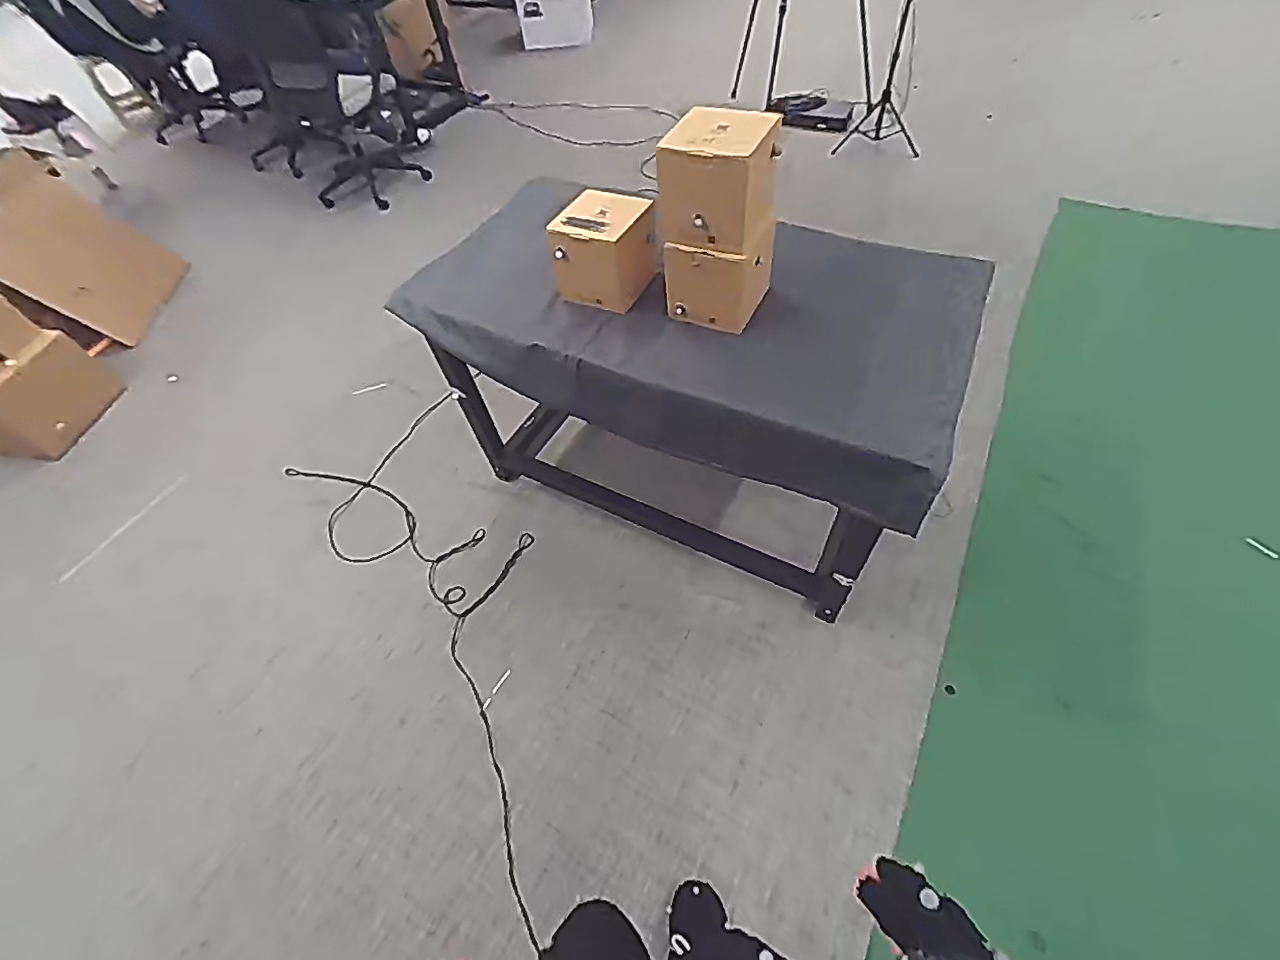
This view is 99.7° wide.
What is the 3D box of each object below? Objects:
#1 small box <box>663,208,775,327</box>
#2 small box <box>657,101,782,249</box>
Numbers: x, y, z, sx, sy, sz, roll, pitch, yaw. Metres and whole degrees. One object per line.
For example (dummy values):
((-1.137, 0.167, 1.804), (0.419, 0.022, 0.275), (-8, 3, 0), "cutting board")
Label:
((0.162, -0.439, 1.098), (0.168, 0.176, 0.179), (20, 59, 20), "small box")
((0.142, -0.549, 0.977), (0.168, 0.176, 0.179), (19, 59, 19), "small box")
